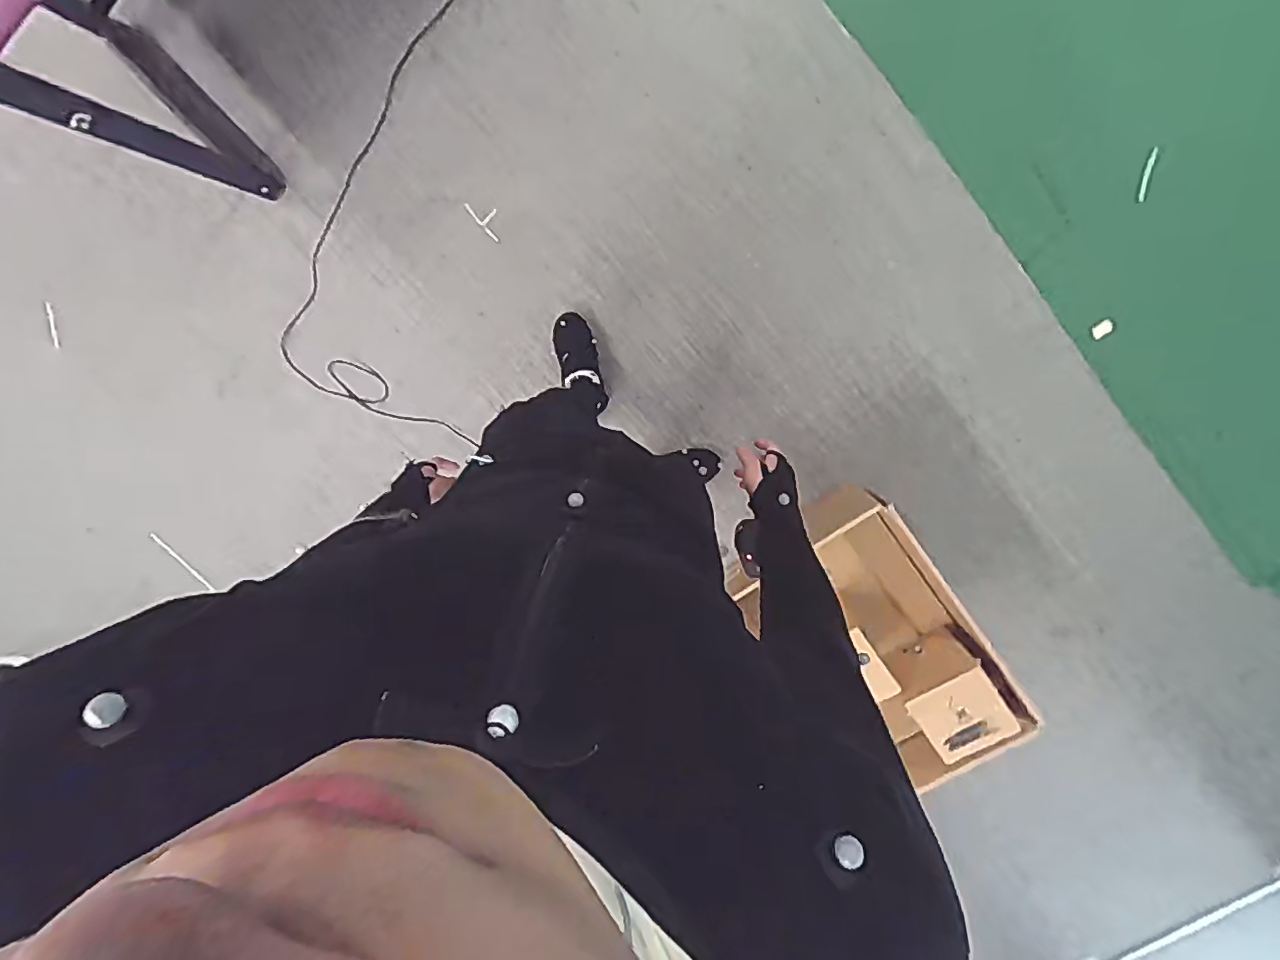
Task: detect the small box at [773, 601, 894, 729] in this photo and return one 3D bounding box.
[{"bbox_3d":[0.408,0.388,1.175,0.168,0.176,0.179,-34,98,12],"label":"small box"}]
